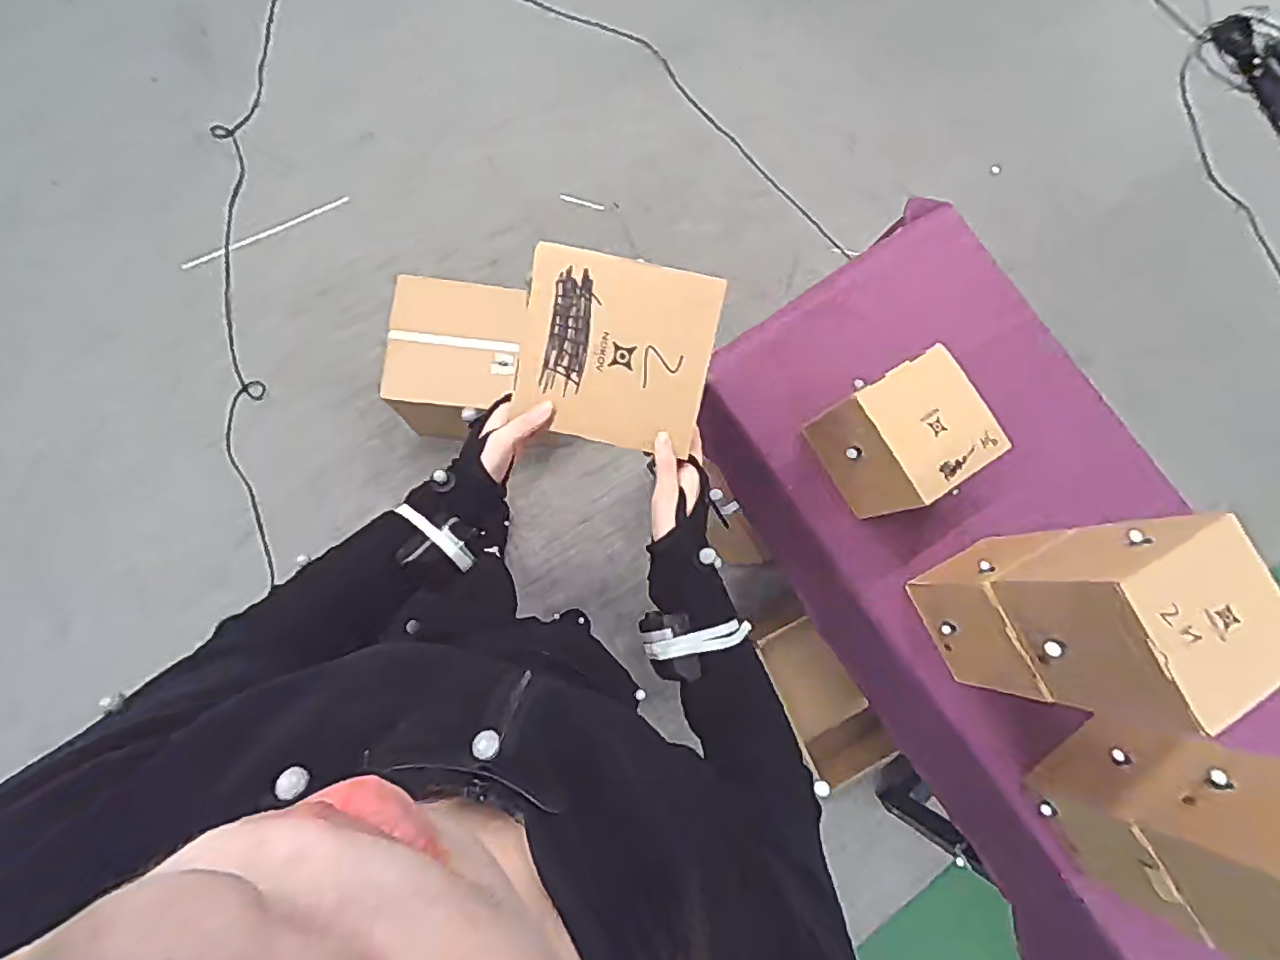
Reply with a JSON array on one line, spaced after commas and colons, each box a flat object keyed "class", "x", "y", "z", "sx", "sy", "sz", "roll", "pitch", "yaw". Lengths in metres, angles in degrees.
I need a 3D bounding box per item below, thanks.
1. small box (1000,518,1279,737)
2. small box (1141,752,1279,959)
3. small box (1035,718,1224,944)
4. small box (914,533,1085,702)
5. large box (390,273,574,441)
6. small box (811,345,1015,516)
[{"class": "small box", "x": 0.575, "y": 0.157, "z": 0.625, "sx": 0.179, "sy": 0.176, "sz": 0.168, "roll": -24, "pitch": 83, "yaw": -11}, {"class": "small box", "x": 0.730, "y": 0.440, "z": 0.595, "sx": 0.168, "sy": 0.176, "sz": 0.179, "roll": -28, "pitch": 84, "yaw": -13}, {"class": "small box", "x": 0.703, "y": 0.467, "z": 0.753, "sx": 0.179, "sy": 0.176, "sz": 0.168, "roll": -30, "pitch": 85, "yaw": -13}, {"class": "small box", "x": 0.546, "y": 0.189, "z": 0.785, "sx": 0.179, "sy": 0.176, "sz": 0.168, "roll": -25, "pitch": 84, "yaw": -11}, {"class": "large box", "x": -0.389, "y": -0.299, "z": 1.419, "sx": 0.408, "sy": 0.320, "sz": 0.320, "roll": 5, "pitch": 80, "yaw": -8}, {"class": "small box", "x": 0.390, "y": -0.064, "z": 0.806, "sx": 0.168, "sy": 0.176, "sz": 0.179, "roll": -30, "pitch": 84, "yaw": -11}]
